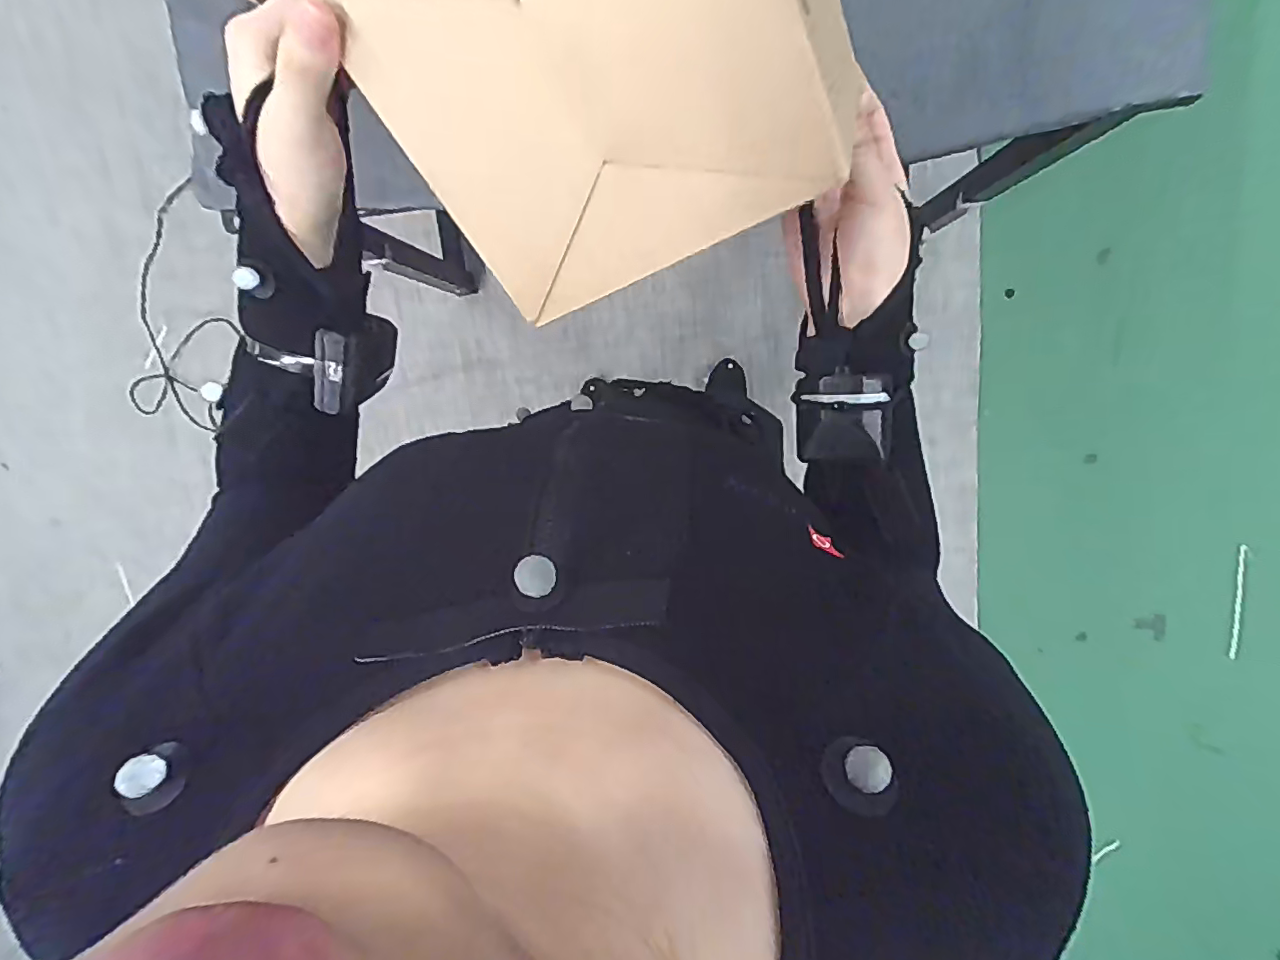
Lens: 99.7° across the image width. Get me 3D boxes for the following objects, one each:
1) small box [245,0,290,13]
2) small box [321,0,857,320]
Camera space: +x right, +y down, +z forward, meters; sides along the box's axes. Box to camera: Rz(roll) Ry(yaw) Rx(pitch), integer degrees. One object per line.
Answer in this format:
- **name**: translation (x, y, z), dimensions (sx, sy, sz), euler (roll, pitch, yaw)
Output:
- **small box**: translation (-0.479, -0.666, 0.576), dimensions (0.179, 0.176, 0.168), euler (35, 101, -3)
- **small box**: translation (-0.009, -0.206, 0.267), dimensions (0.179, 0.176, 0.168), euler (-11, 131, 34)
